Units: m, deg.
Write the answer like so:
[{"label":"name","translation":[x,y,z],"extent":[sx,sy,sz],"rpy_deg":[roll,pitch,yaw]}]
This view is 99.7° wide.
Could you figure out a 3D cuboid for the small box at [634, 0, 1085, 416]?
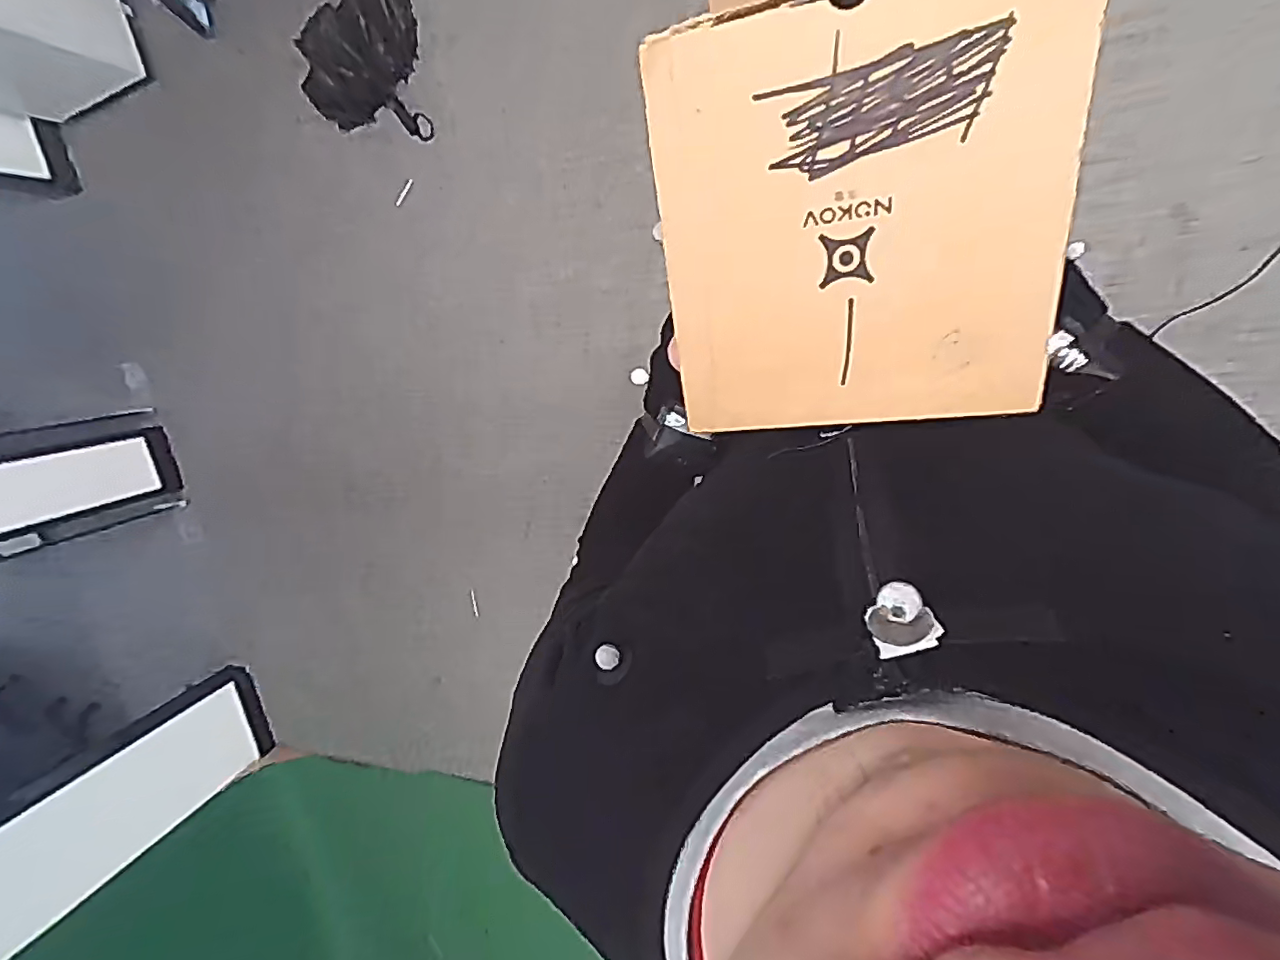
[{"label":"small box","translation":[0.104,-0.150,0.306],"extent":[0.168,0.176,0.179],"rpy_deg":[-1,118,17]}]
